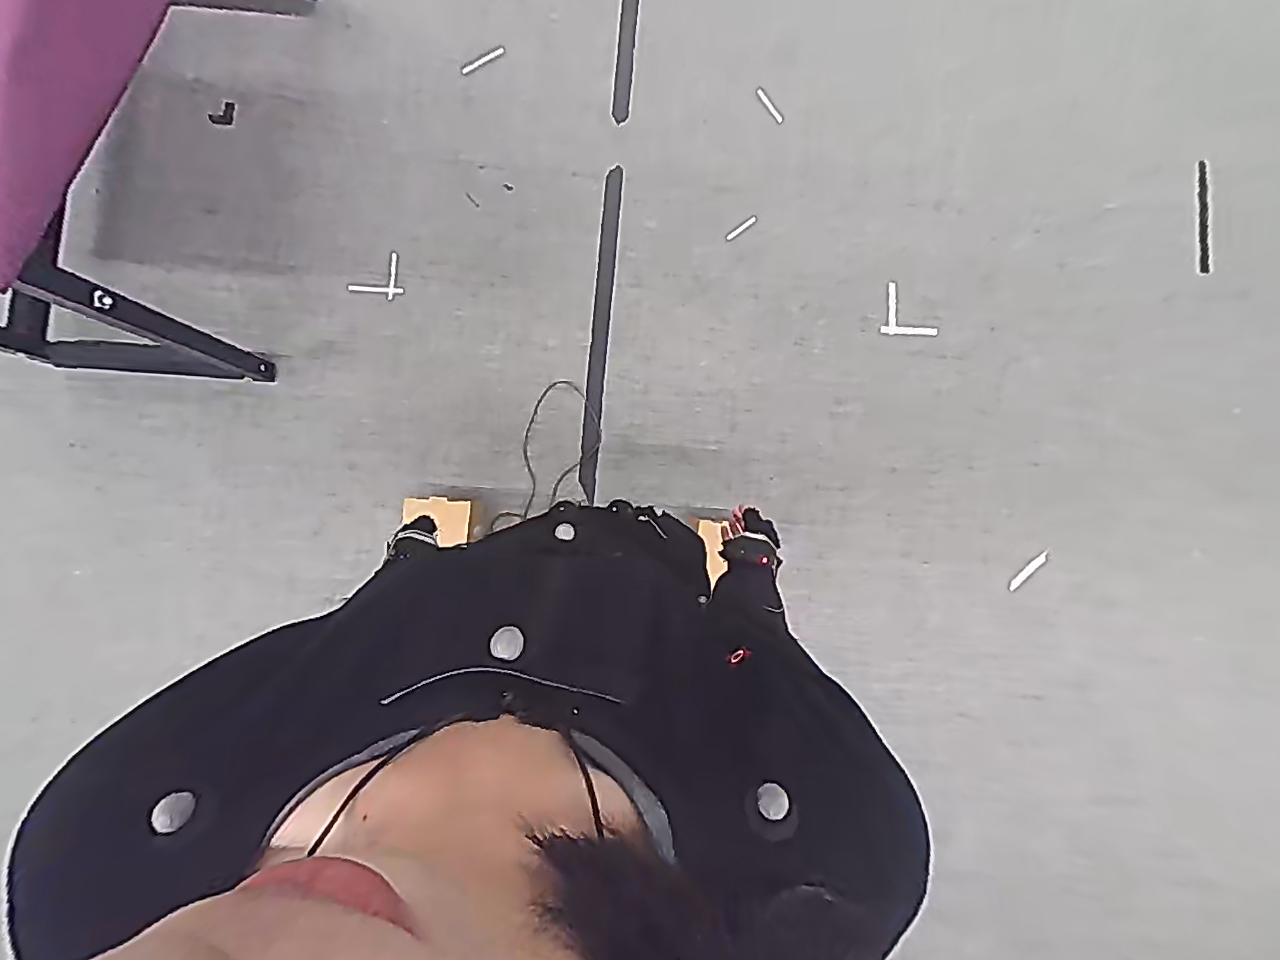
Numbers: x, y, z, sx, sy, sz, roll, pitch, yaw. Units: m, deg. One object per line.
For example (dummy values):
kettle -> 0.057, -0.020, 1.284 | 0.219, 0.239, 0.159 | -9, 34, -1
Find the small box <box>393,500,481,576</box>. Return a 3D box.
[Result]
small box -> -0.519, 0.151, 1.404 | 0.168, 0.176, 0.179 | 5, 83, -3

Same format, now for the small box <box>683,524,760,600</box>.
small box -> 0.212, 0.213, 1.449 | 0.168, 0.176, 0.179 | 7, 86, -2
